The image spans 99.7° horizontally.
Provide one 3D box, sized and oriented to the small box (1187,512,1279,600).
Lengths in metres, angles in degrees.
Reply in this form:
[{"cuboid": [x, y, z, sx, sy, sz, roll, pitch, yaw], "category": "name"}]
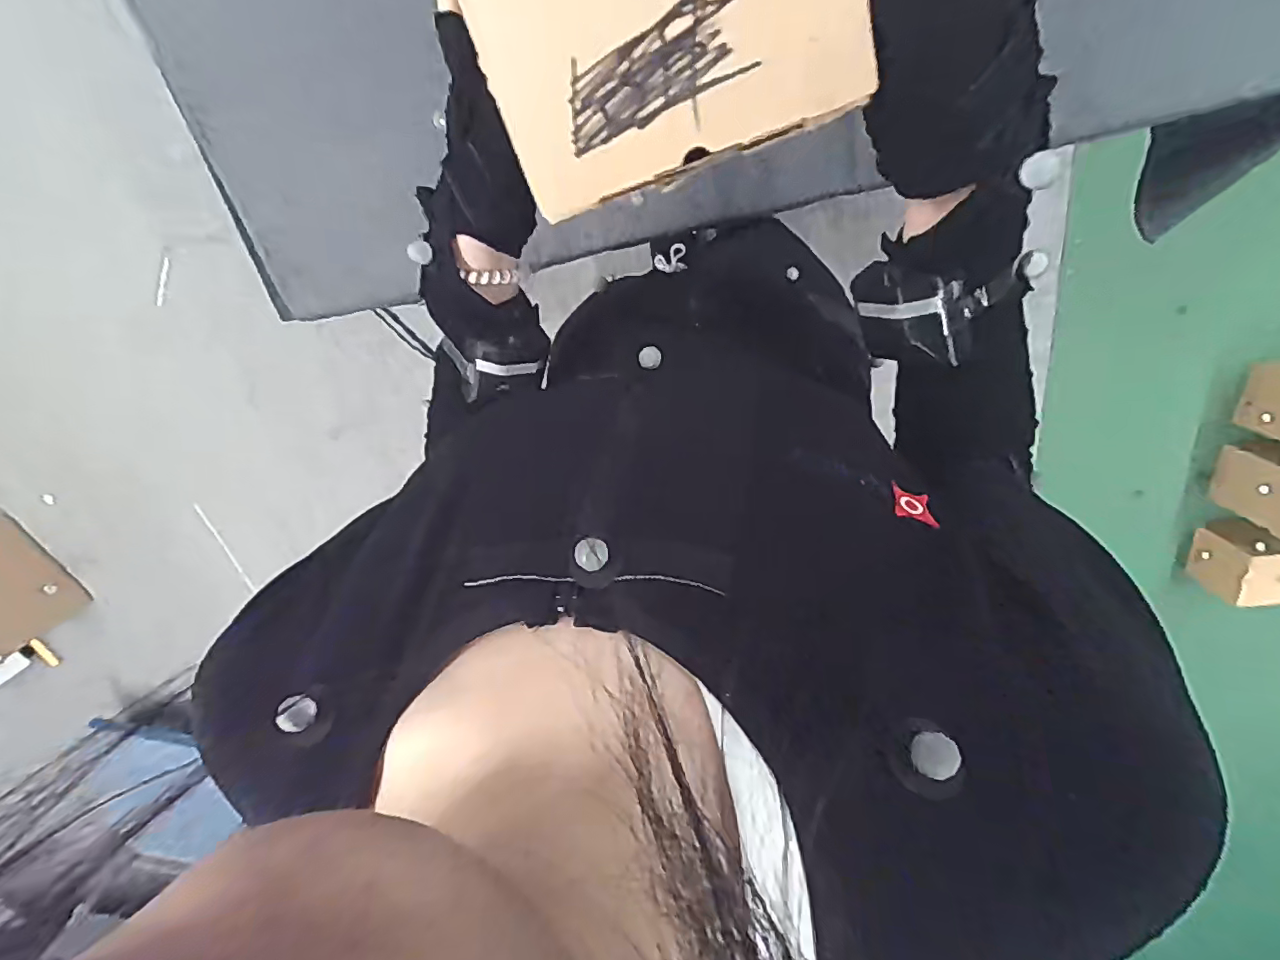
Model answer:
[{"cuboid": [1.675, 0.201, 1.475, 0.179, 0.176, 0.168, -9, 116, 9], "category": "small box"}]
